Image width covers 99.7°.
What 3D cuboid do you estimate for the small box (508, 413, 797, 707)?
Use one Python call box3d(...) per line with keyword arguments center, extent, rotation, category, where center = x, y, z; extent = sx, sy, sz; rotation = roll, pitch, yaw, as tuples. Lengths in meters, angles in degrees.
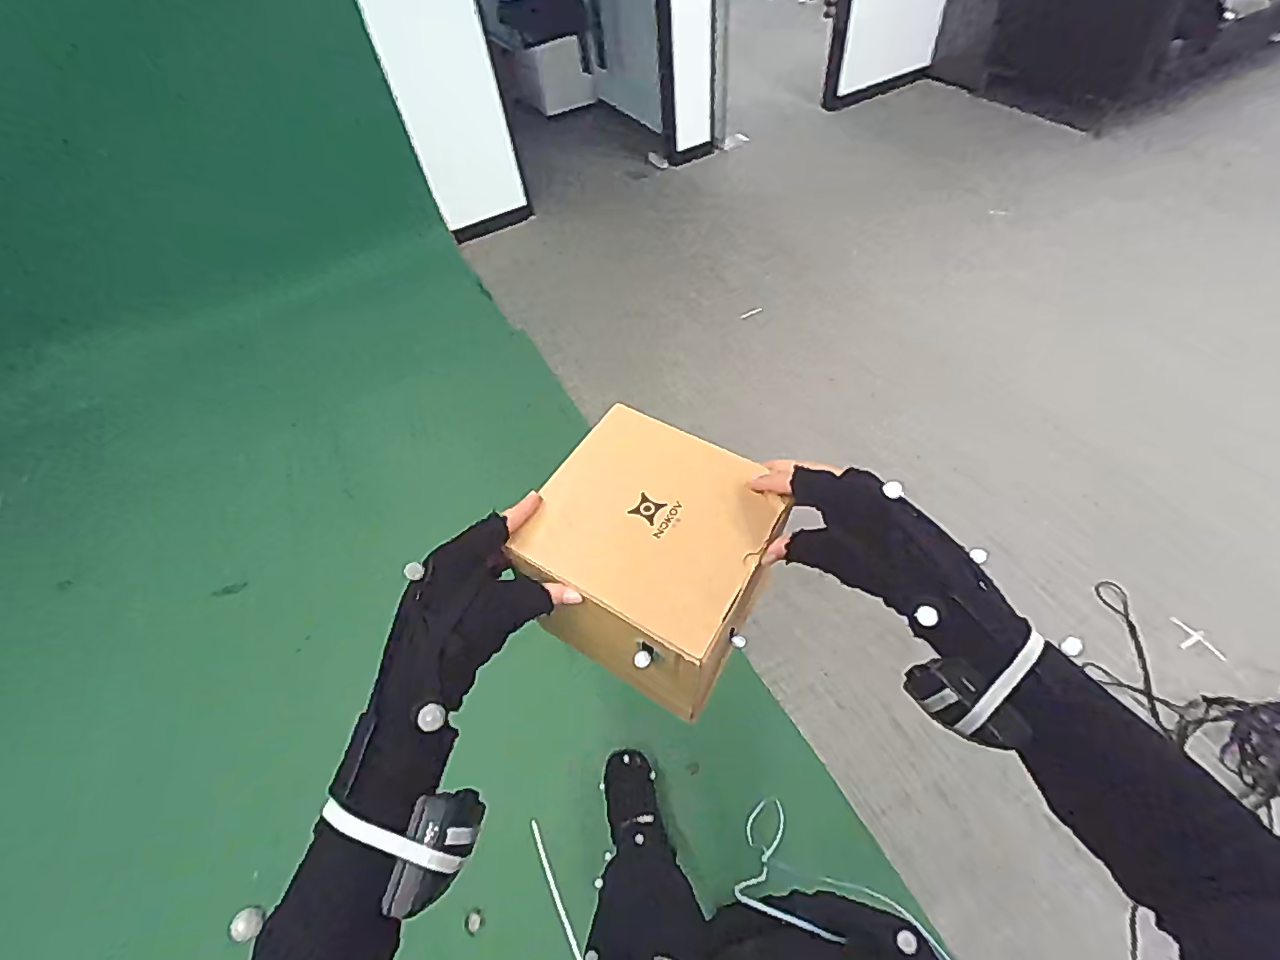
box3d(center=(0.013, 0.076, 0.490), extent=(0.179, 0.176, 0.168), rotation=(27, 58, 19), category="small box")
